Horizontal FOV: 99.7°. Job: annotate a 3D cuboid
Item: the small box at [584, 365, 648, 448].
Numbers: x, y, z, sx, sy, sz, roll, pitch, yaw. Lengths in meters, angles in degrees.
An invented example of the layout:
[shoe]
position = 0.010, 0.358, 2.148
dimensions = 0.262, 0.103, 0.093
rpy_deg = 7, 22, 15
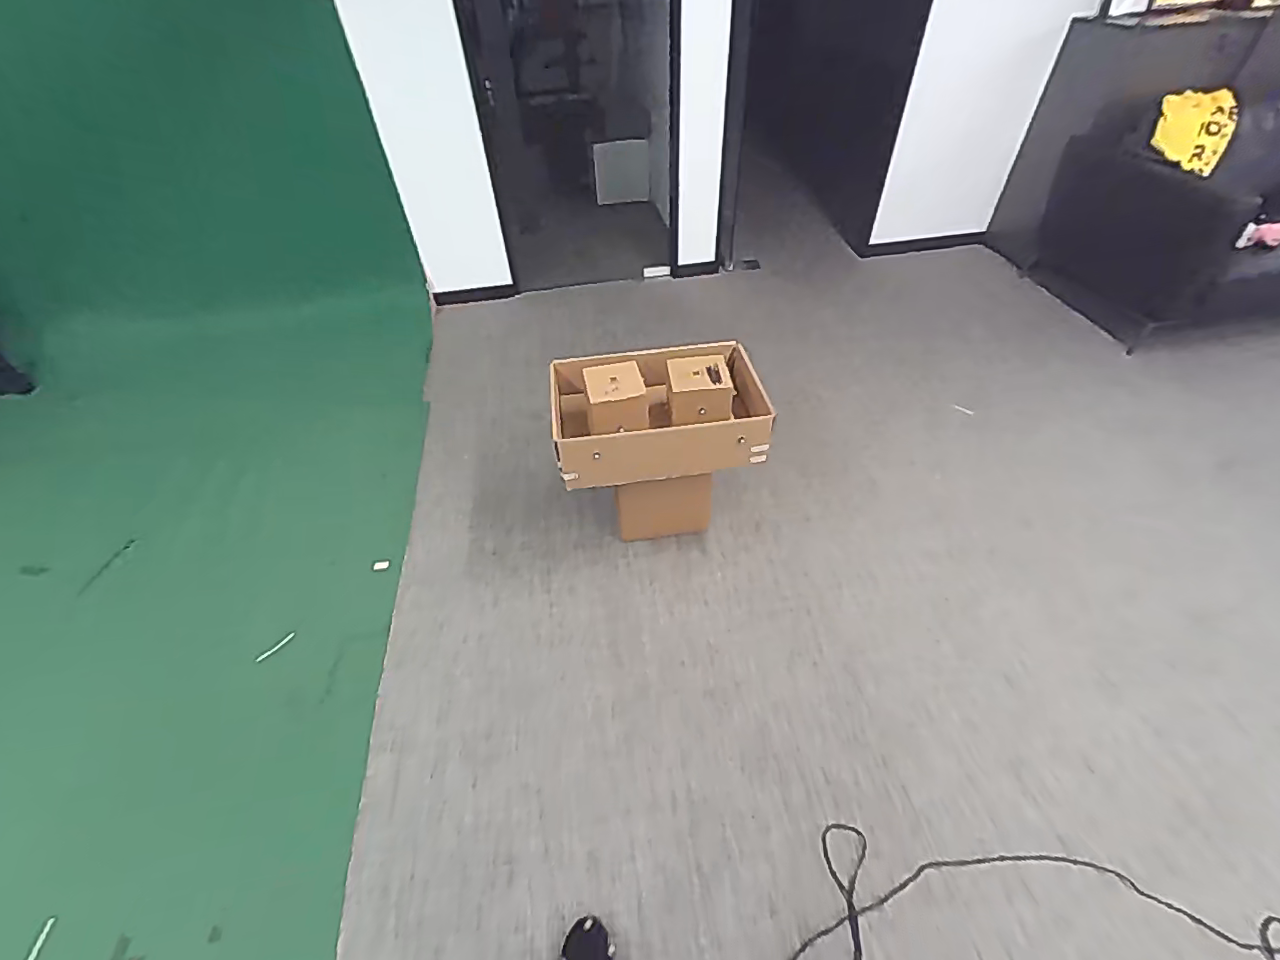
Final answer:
[small box]
position = -0.073, -0.222, 1.630
dimensions = 0.168, 0.176, 0.179
rpy_deg = -9, 46, -7
